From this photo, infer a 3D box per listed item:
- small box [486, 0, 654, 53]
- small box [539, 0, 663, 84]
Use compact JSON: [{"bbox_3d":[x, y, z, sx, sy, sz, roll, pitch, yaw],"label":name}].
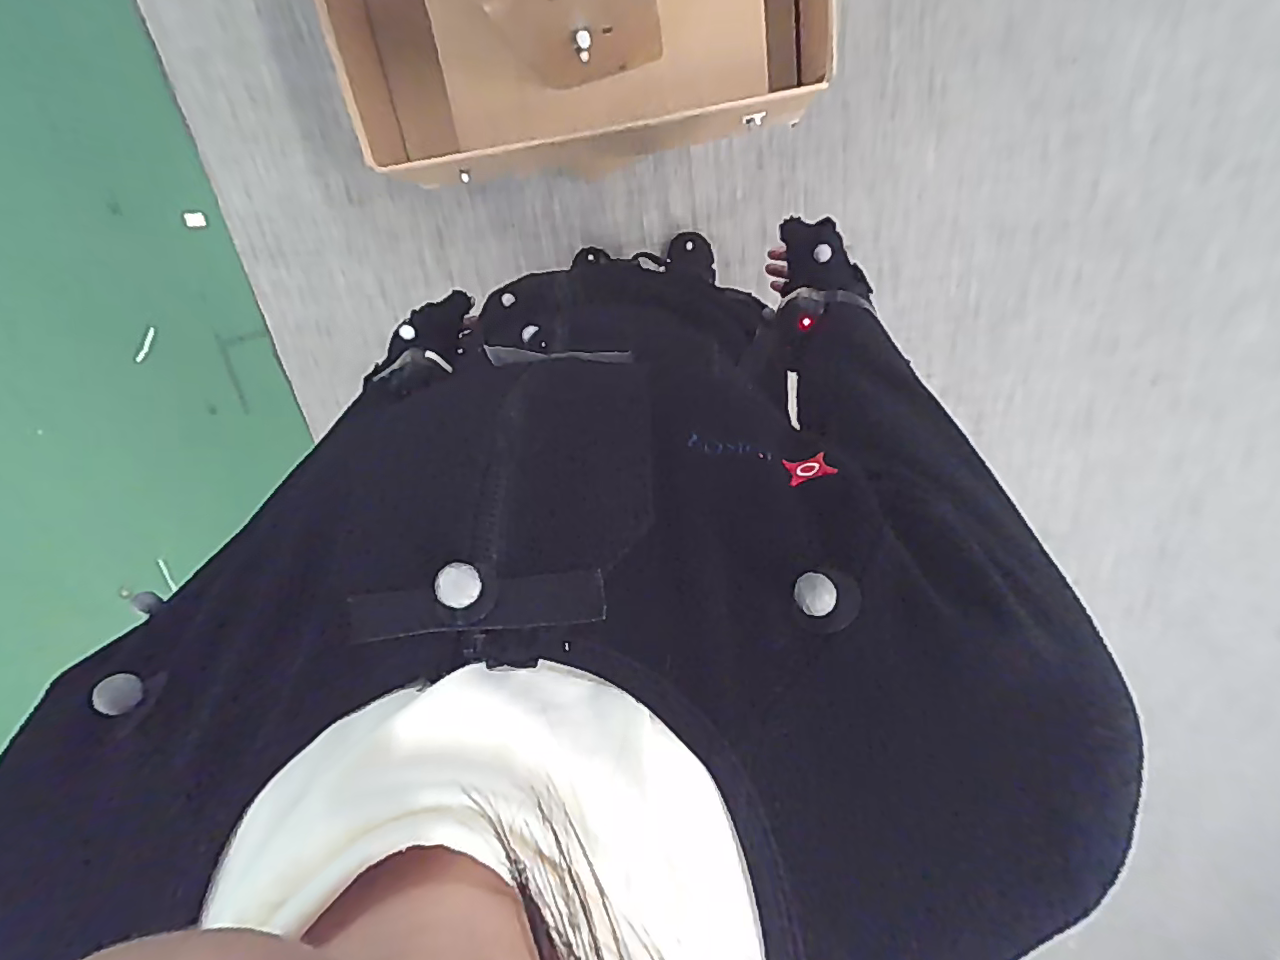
[{"bbox_3d":[-0.083,-0.567,0.530,0.168,0.176,0.179,-10,114,9],"label":"small box"},{"bbox_3d":[-0.070,-0.639,0.677,0.168,0.176,0.179,-10,112,10],"label":"small box"}]
